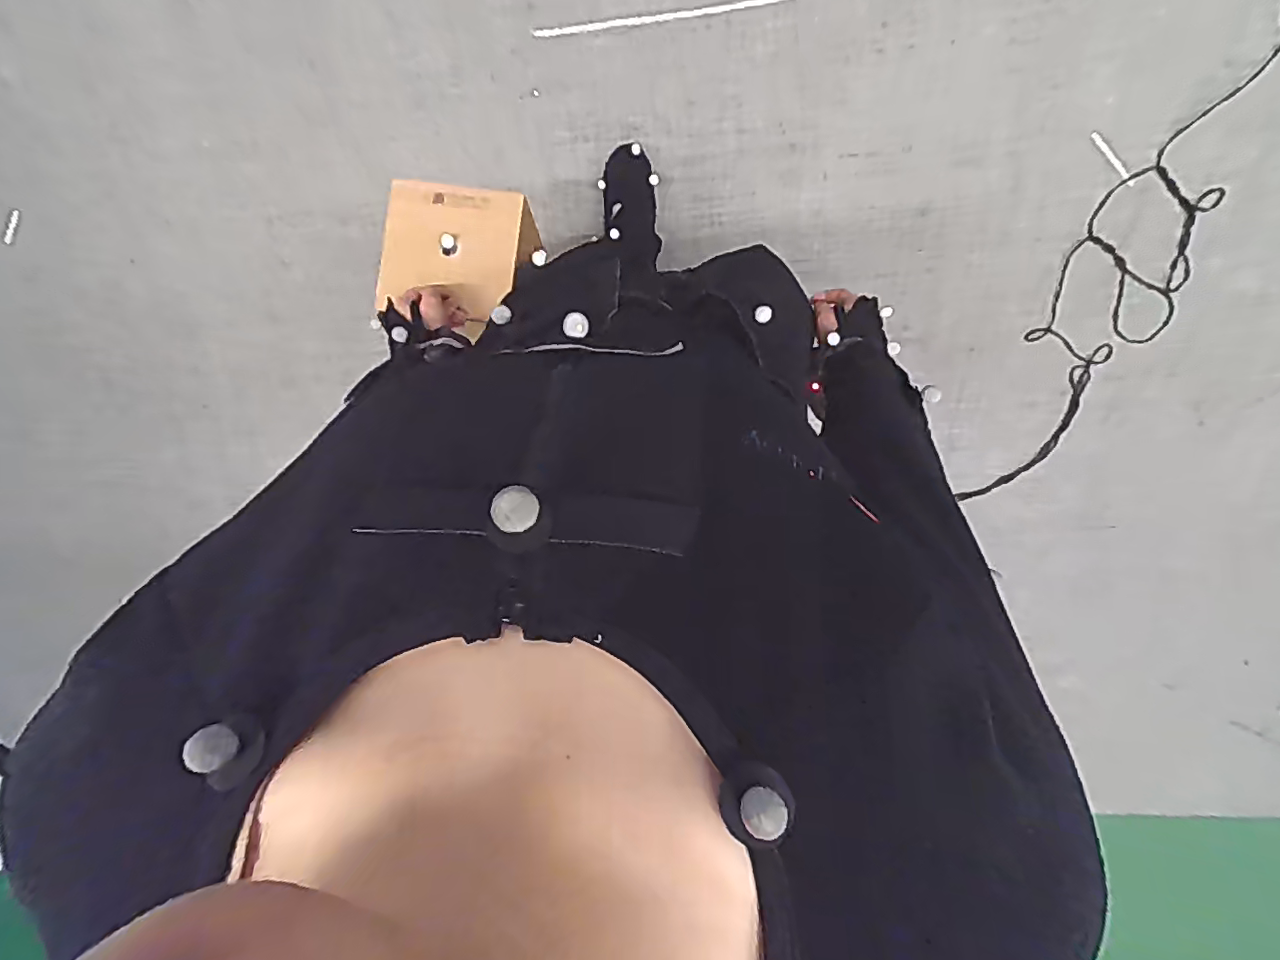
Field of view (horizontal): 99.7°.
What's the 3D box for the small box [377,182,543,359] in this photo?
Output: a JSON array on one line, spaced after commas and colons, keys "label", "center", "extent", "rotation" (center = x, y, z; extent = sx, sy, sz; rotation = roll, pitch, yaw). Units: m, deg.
[{"label": "small box", "center": [-0.234, -0.278, 0.742], "extent": [0.168, 0.179, 0.176], "rotation": [7, 88, -1]}]
